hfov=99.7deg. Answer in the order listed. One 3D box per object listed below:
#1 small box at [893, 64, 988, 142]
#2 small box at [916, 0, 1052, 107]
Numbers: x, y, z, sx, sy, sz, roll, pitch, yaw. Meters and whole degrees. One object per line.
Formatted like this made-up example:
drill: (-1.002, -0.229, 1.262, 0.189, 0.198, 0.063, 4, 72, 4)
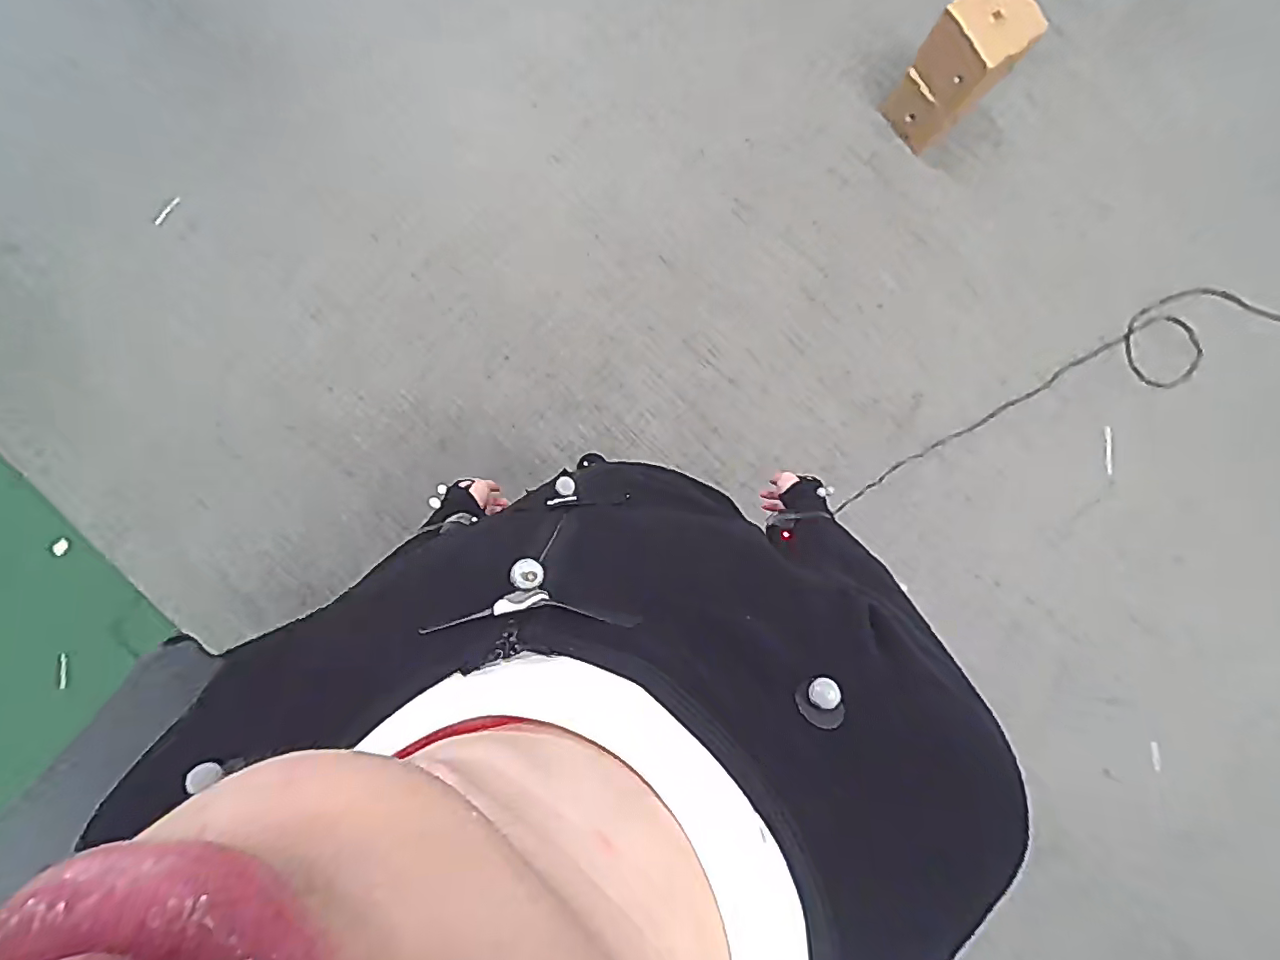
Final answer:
small box: (0.806, -1.040, 1.430, 0.179, 0.176, 0.168, 21, 90, 2)
small box: (0.799, -1.030, 1.275, 0.168, 0.176, 0.179, -34, 89, 0)
